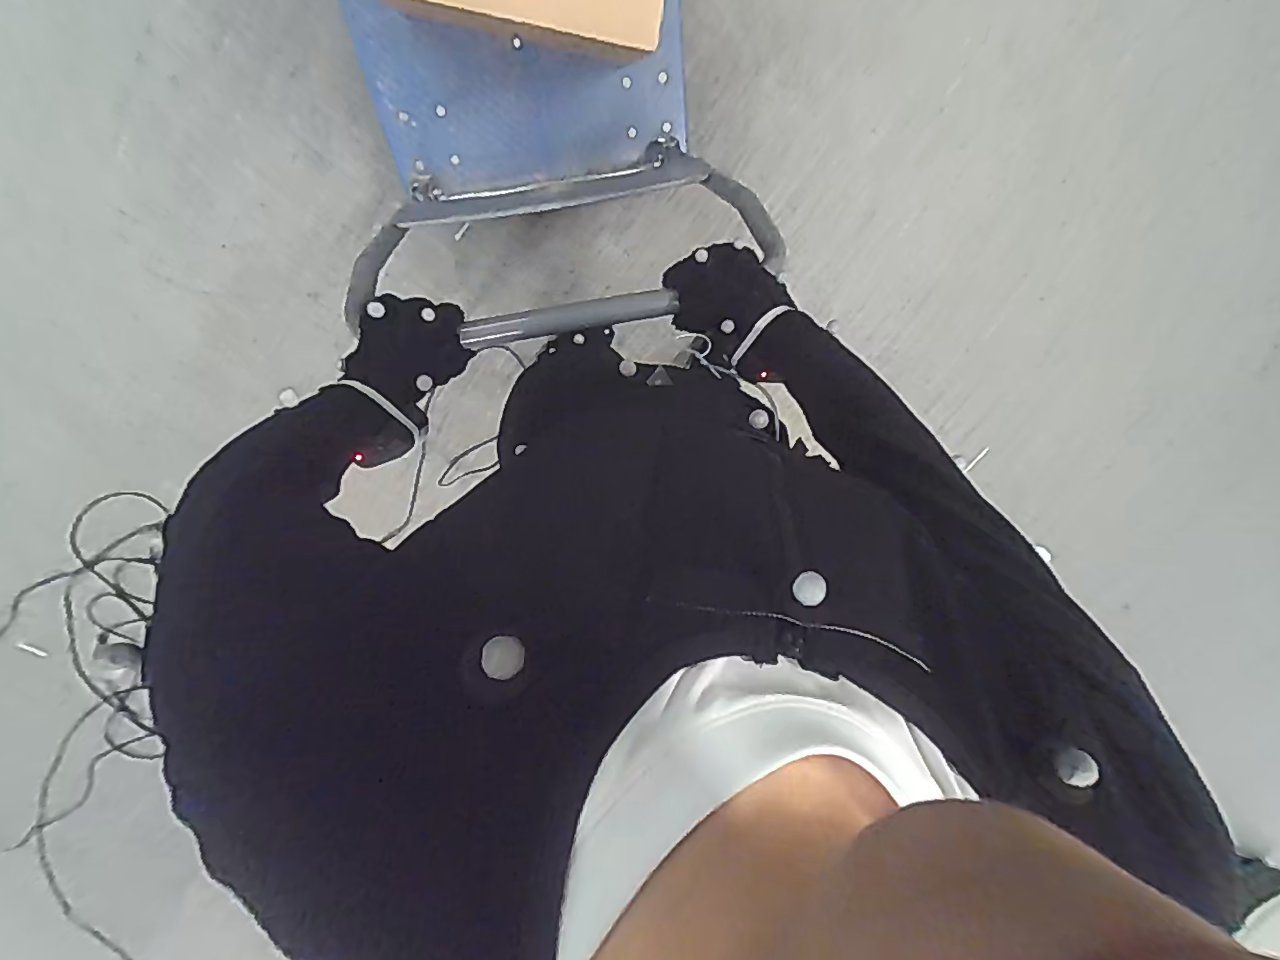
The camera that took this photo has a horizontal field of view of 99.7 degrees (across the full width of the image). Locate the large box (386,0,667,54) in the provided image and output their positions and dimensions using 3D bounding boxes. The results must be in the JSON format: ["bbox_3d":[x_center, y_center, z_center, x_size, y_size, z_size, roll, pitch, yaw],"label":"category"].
[{"bbox_3d":[-0.160,-0.828,0.758,0.408,0.320,0.320,4,124,-11],"label":"large box"}]
